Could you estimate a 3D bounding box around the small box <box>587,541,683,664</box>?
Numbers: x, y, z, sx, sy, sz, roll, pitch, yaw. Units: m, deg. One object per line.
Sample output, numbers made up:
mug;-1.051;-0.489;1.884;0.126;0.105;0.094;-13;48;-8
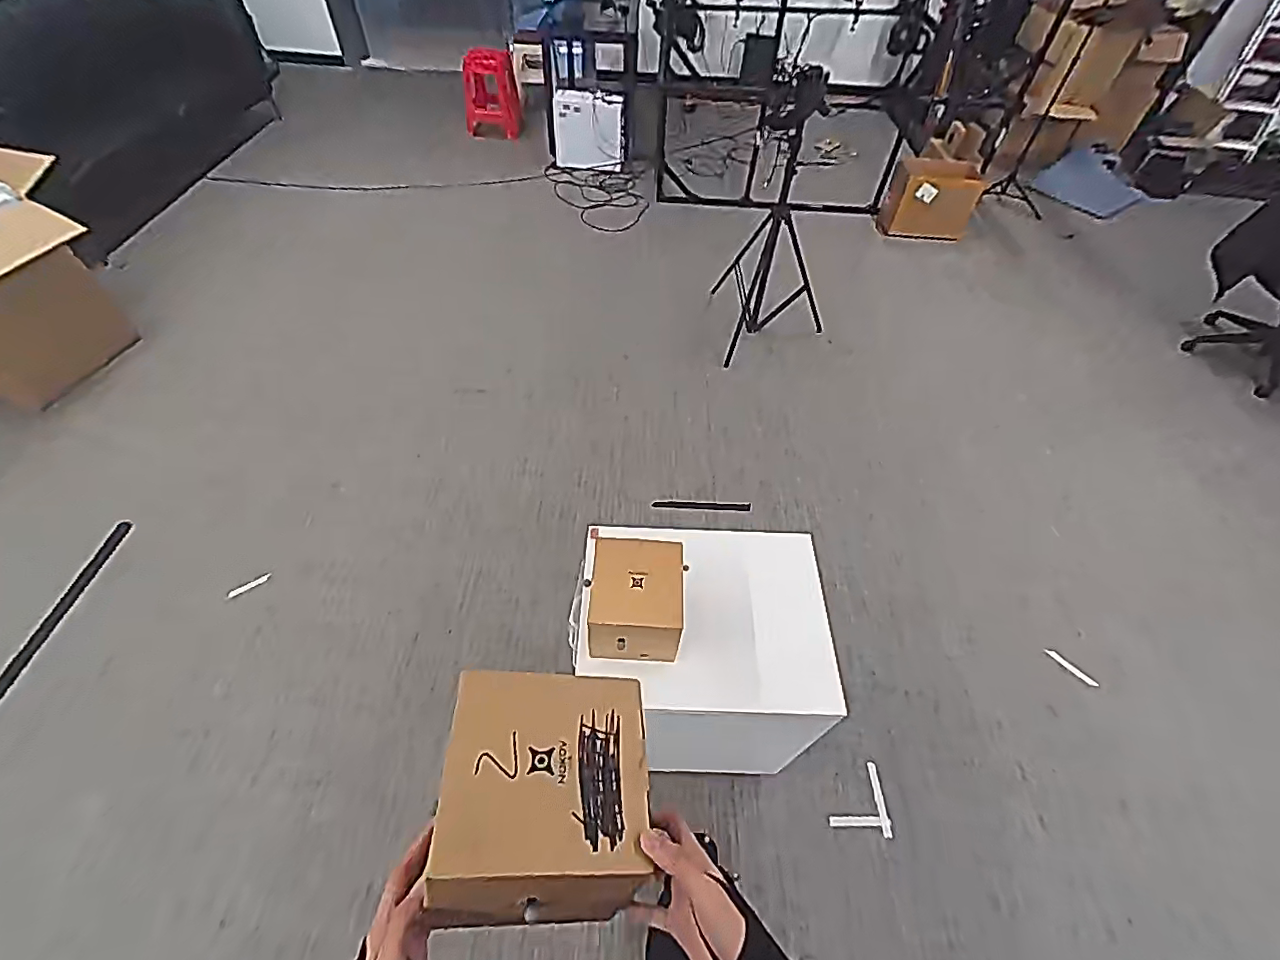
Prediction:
small box;-0.007;0.236;1.023;0.168;0.176;0.179;3;51;-1
